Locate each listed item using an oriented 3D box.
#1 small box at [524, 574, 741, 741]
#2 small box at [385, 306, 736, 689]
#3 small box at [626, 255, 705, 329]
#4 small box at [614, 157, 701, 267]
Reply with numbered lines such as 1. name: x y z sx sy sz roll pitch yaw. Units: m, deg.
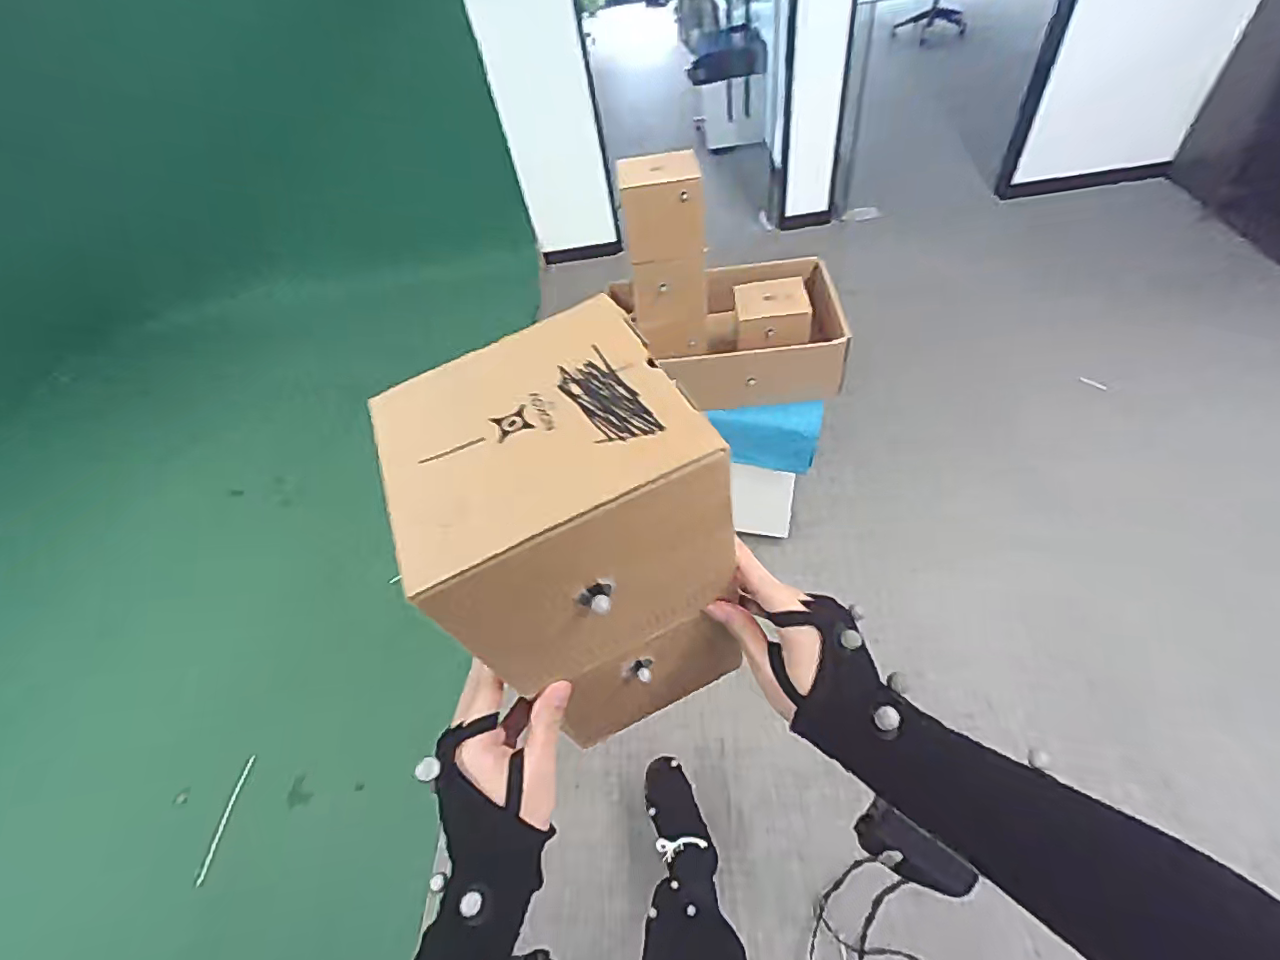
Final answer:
1. small box: -0.017 0.116 0.508 0.179 0.176 0.168 -23 50 -7
2. small box: -0.046 0.017 0.381 0.179 0.176 0.168 -25 51 -6
3. small box: 0.063 -0.493 1.345 0.179 0.176 0.168 -8 49 3
4. small box: 0.041 -0.601 1.224 0.179 0.176 0.168 -7 48 2
